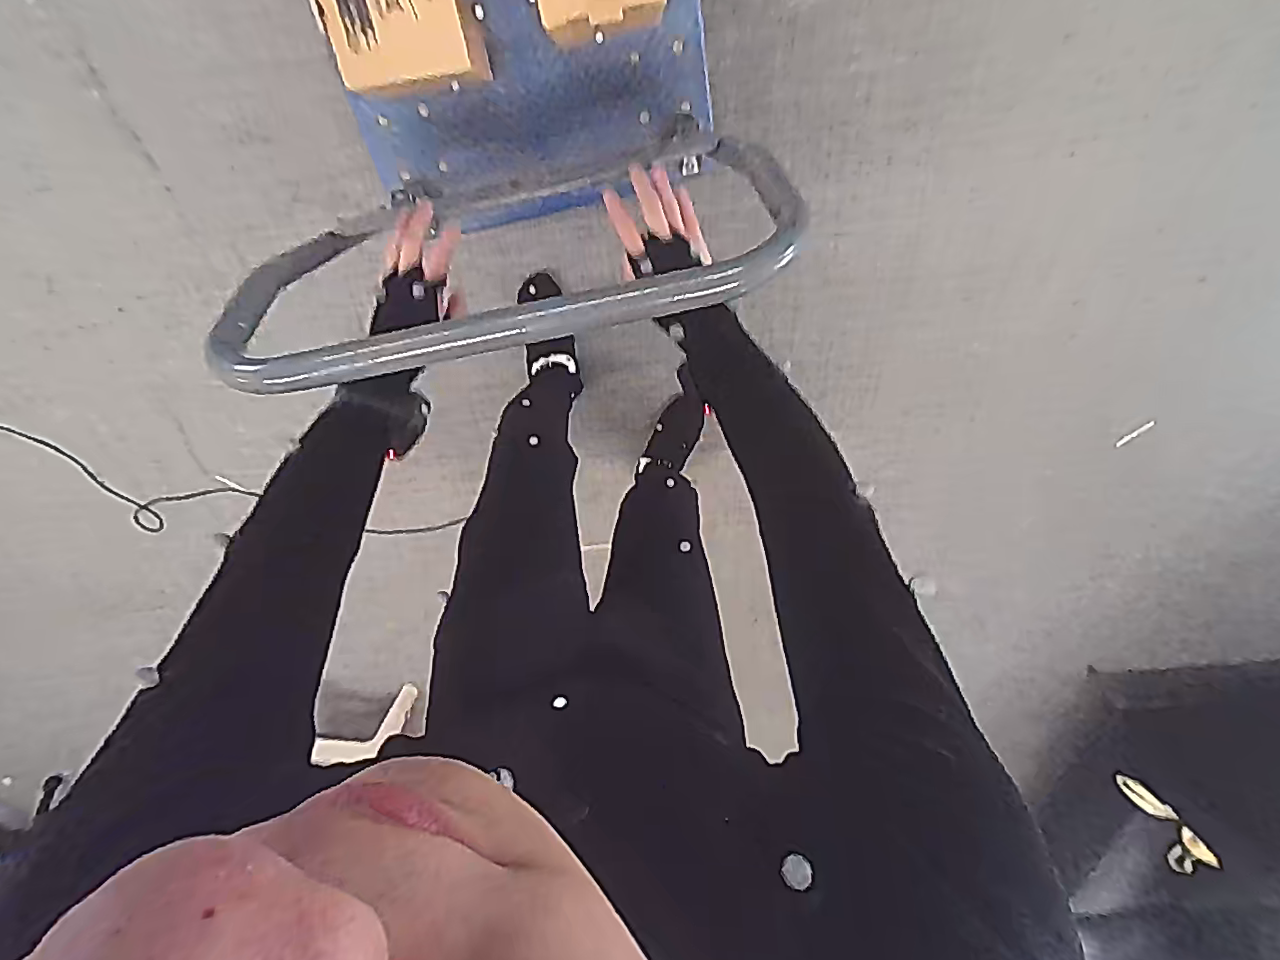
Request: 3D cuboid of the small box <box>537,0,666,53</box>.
[{"bbox_3d":[-0.064,-0.709,0.729,0.168,0.176,0.179,-10,123,3],"label":"small box"}]
